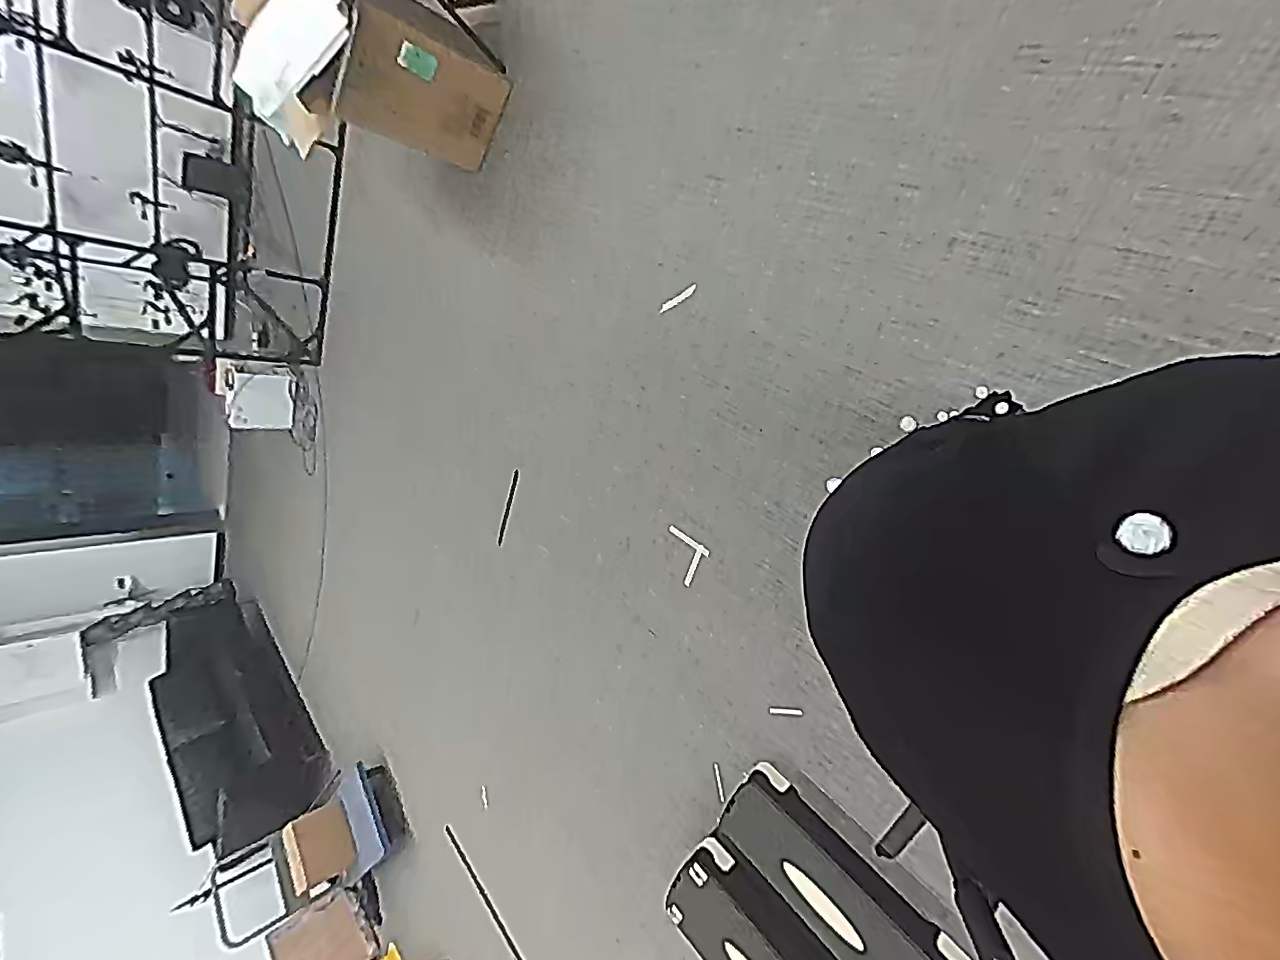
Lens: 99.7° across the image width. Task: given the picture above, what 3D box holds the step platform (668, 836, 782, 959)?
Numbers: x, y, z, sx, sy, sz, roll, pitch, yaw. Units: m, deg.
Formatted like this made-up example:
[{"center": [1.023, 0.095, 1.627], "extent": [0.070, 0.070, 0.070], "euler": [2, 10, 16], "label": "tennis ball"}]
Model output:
[{"center": [0.386, 1.415, 1.519], "extent": [0.684, 0.204, 0.286], "euler": [42, 119, 34], "label": "step platform"}]
